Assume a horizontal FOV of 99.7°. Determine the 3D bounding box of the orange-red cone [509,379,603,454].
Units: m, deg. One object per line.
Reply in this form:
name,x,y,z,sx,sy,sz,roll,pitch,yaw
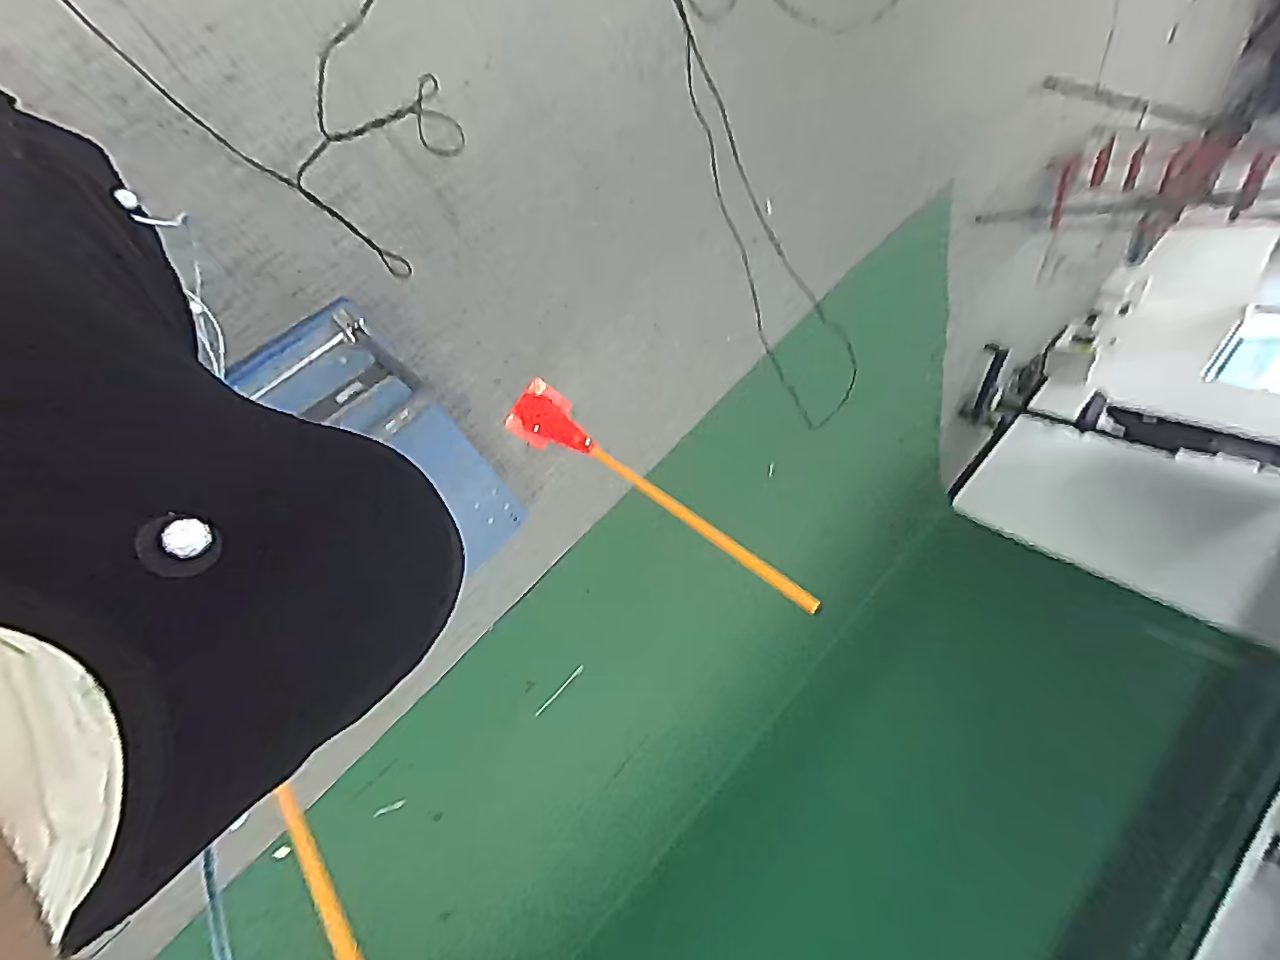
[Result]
orange-red cone,-0.240,-0.169,1.791,0.199,0.360,0.198,-56,138,-3
